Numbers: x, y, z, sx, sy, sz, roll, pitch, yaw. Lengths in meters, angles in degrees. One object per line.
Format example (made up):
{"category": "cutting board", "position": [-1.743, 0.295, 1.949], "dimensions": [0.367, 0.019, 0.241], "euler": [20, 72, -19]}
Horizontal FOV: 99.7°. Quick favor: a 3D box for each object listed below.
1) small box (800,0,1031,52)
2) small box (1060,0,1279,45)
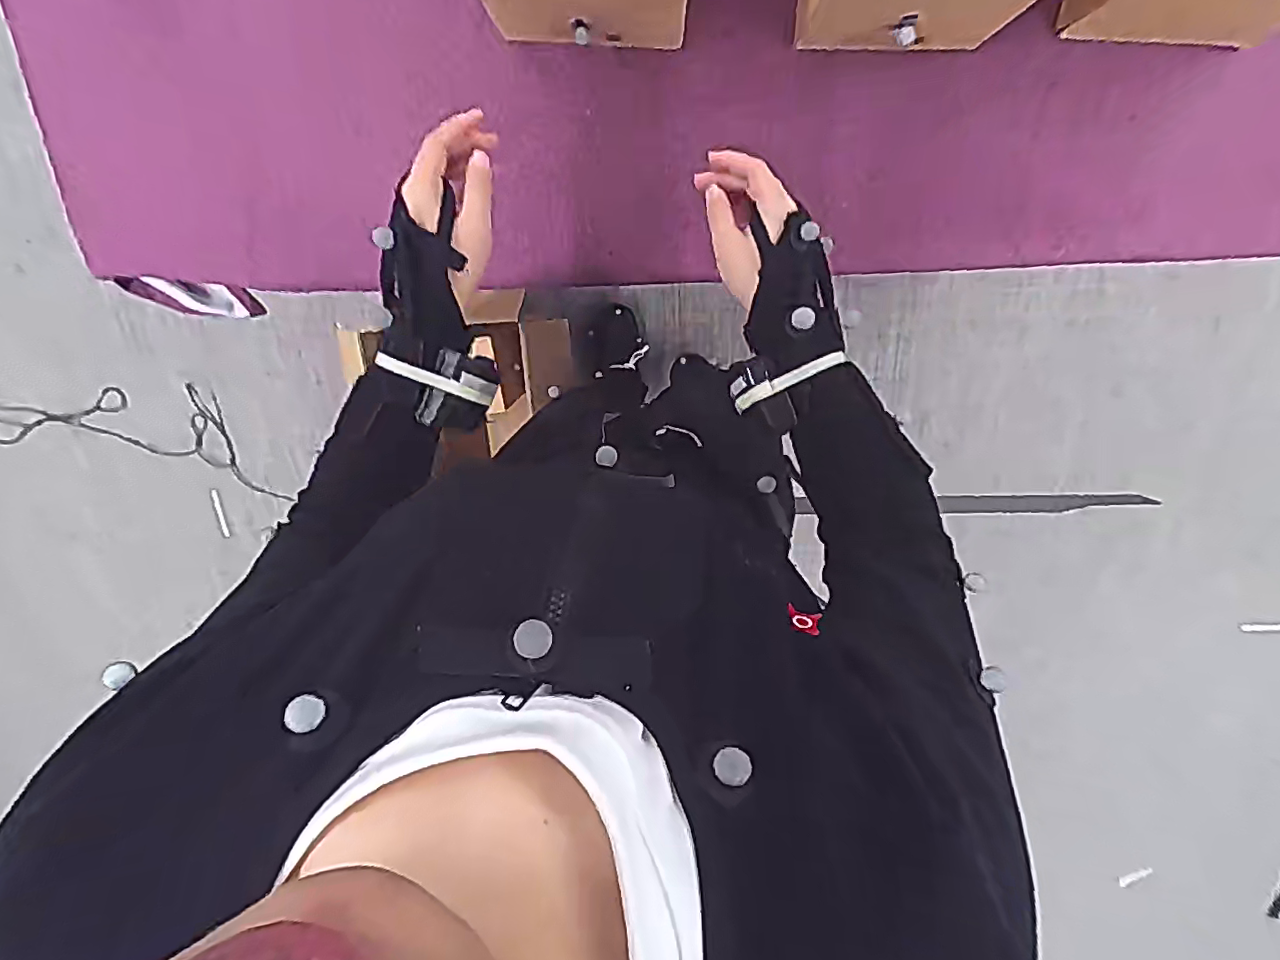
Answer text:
{"category": "small box", "position": [0.224, -0.451, 0.389], "dimensions": [0.168, 0.176, 0.179], "euler": [2, 109, 1]}
{"category": "small box", "position": [0.465, -0.446, 0.387], "dimensions": [0.179, 0.176, 0.168], "euler": [4, 108, 1]}
